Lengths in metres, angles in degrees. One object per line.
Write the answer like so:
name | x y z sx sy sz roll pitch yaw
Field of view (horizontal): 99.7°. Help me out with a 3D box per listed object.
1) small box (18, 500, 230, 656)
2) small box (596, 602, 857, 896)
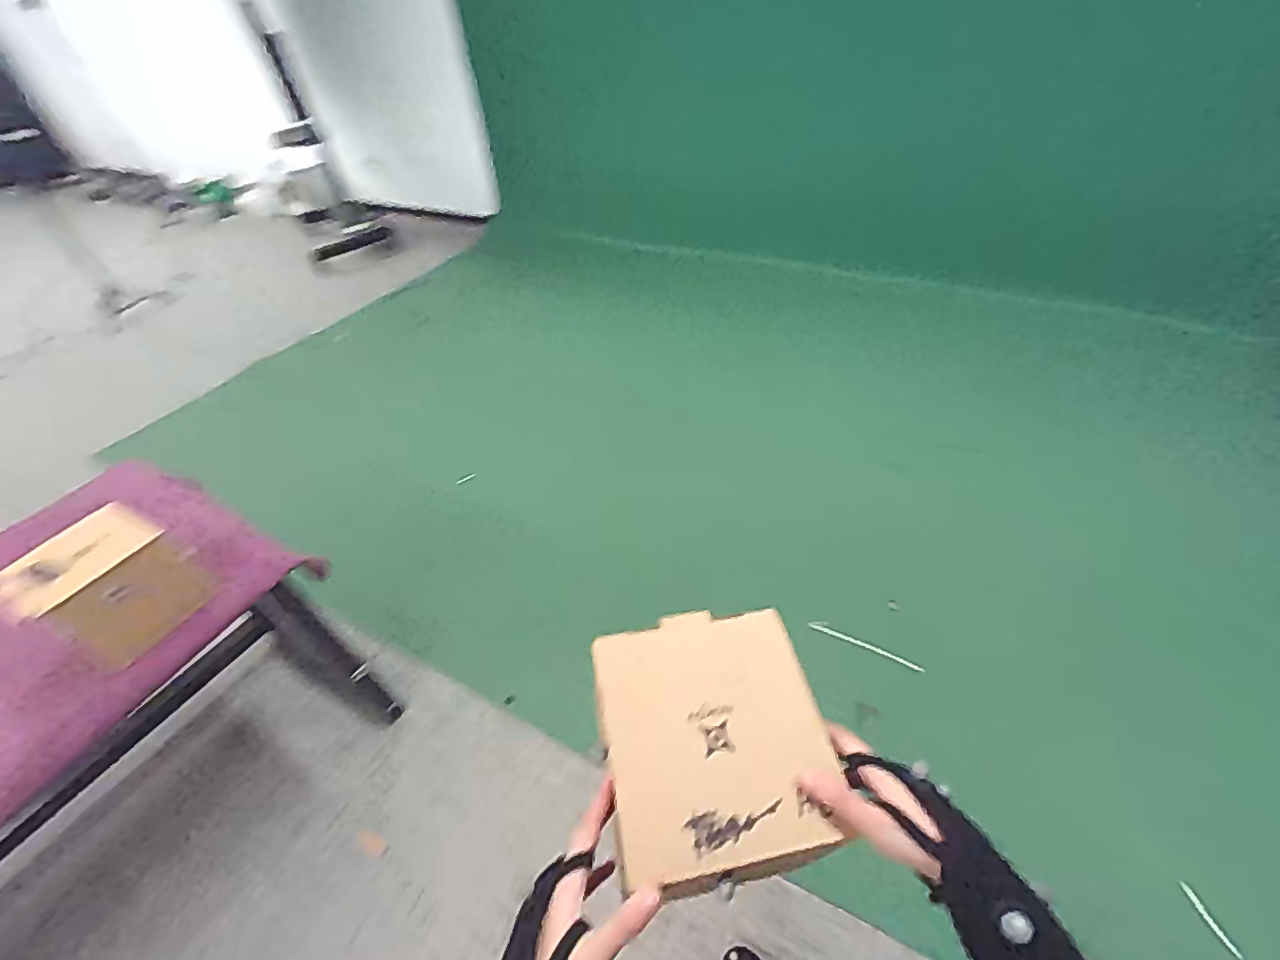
small box | -0.874 0.171 0.935 0.168 0.176 0.179 19 49 23
small box | 0.052 0.235 0.476 0.168 0.176 0.179 -7 49 -9
